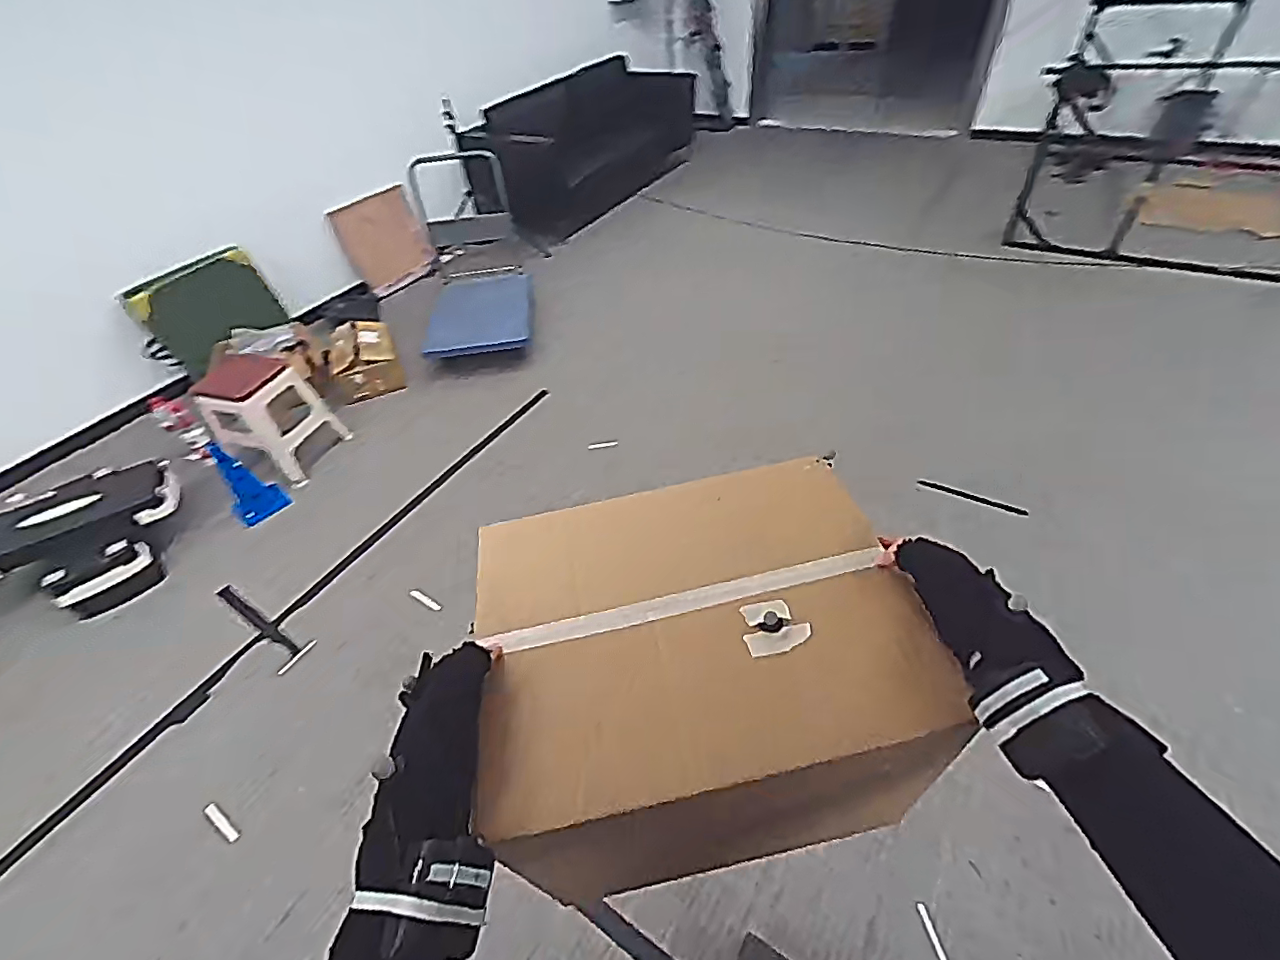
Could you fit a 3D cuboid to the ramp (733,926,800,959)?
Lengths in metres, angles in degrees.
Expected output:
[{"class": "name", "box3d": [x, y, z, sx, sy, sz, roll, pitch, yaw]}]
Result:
[{"class": "ramp", "box3d": [0.529, 1.313, 0.873, 0.991, 0.206, 0.509, 19, 50, 24]}]

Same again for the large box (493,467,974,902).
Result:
[{"class": "large box", "box3d": [0.067, 0.233, 0.631, 0.408, 0.320, 0.320, -12, 45, -3]}]
